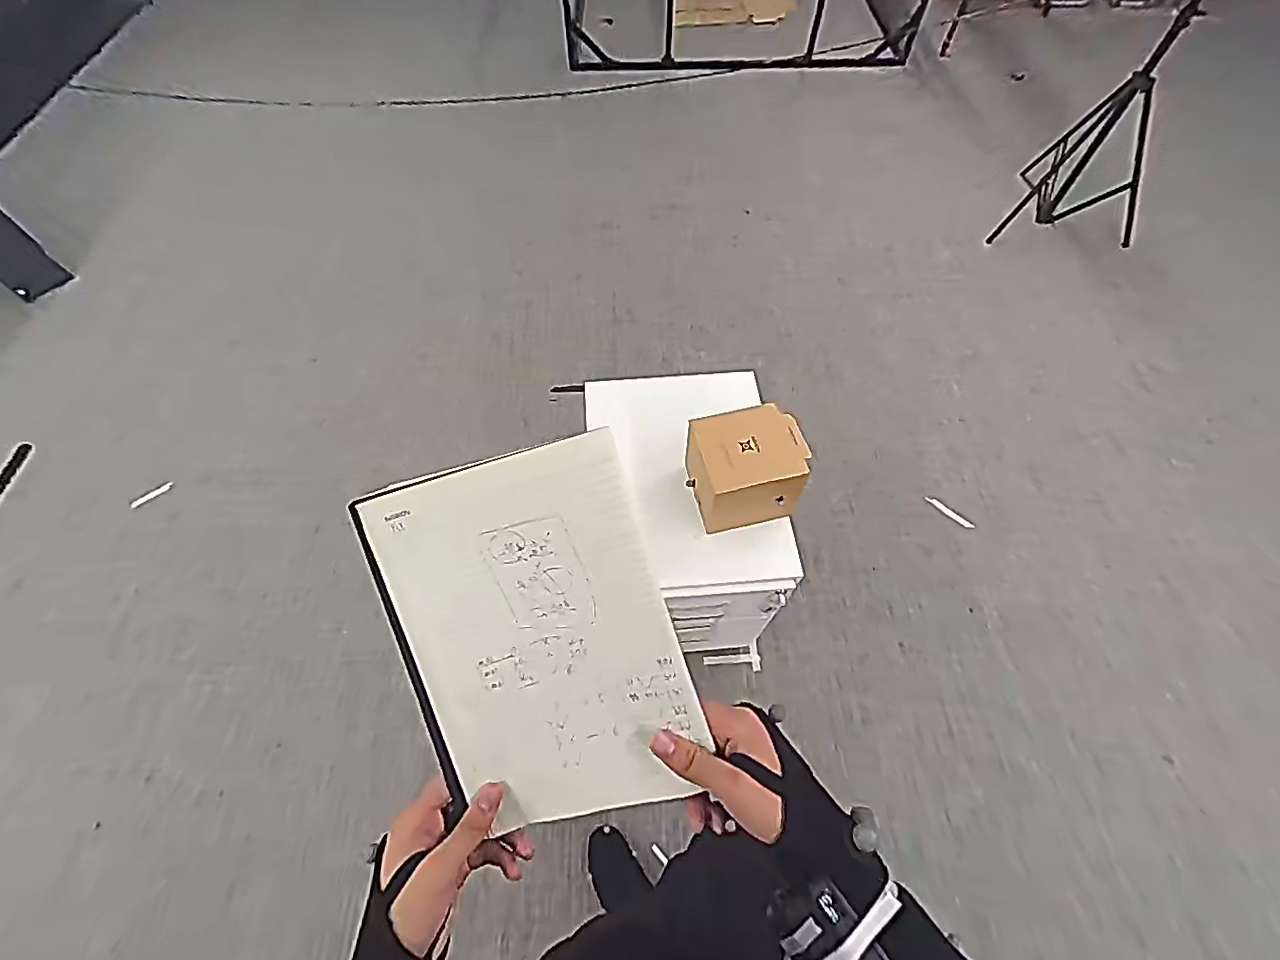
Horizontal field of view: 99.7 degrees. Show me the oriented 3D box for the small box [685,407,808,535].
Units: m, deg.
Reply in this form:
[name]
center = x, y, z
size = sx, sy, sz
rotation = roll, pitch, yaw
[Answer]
[small box]
center = 0.194, -0.013, 1.039
size = 0.179, 0.176, 0.168
rotation = -12, 60, -6
